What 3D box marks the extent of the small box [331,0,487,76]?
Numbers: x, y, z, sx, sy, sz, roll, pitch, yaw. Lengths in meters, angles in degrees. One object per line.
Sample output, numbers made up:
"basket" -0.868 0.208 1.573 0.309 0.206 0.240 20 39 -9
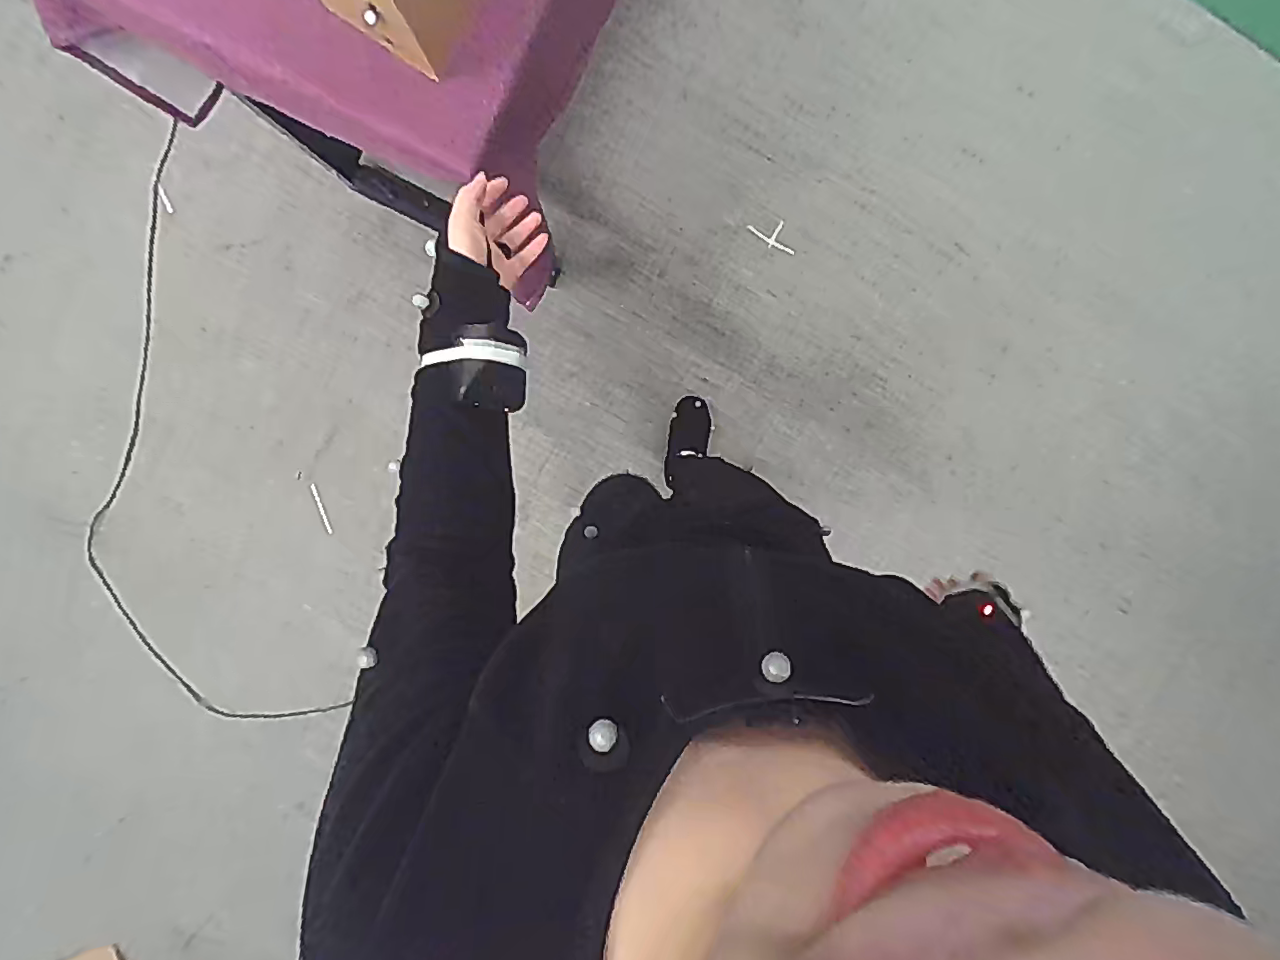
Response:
"small box" -0.274 -0.605 0.590 0.168 0.176 0.179 33 95 -4
